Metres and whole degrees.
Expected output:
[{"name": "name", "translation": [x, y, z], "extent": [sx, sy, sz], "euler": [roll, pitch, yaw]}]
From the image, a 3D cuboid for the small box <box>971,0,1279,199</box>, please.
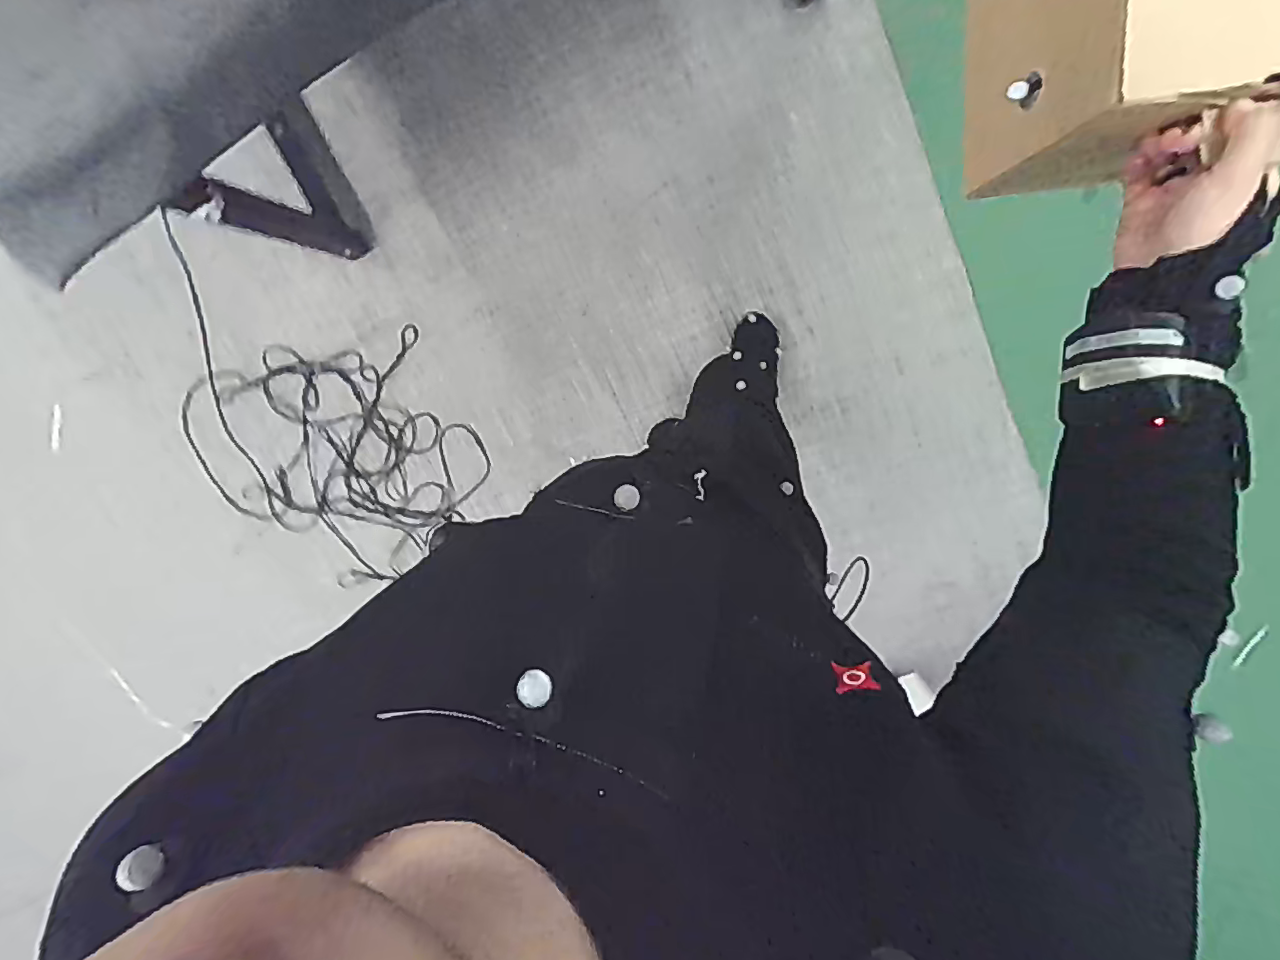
[{"name": "small box", "translation": [0.349, -0.306, 0.361], "extent": [0.168, 0.176, 0.179], "euler": [-4, 99, 3]}]
